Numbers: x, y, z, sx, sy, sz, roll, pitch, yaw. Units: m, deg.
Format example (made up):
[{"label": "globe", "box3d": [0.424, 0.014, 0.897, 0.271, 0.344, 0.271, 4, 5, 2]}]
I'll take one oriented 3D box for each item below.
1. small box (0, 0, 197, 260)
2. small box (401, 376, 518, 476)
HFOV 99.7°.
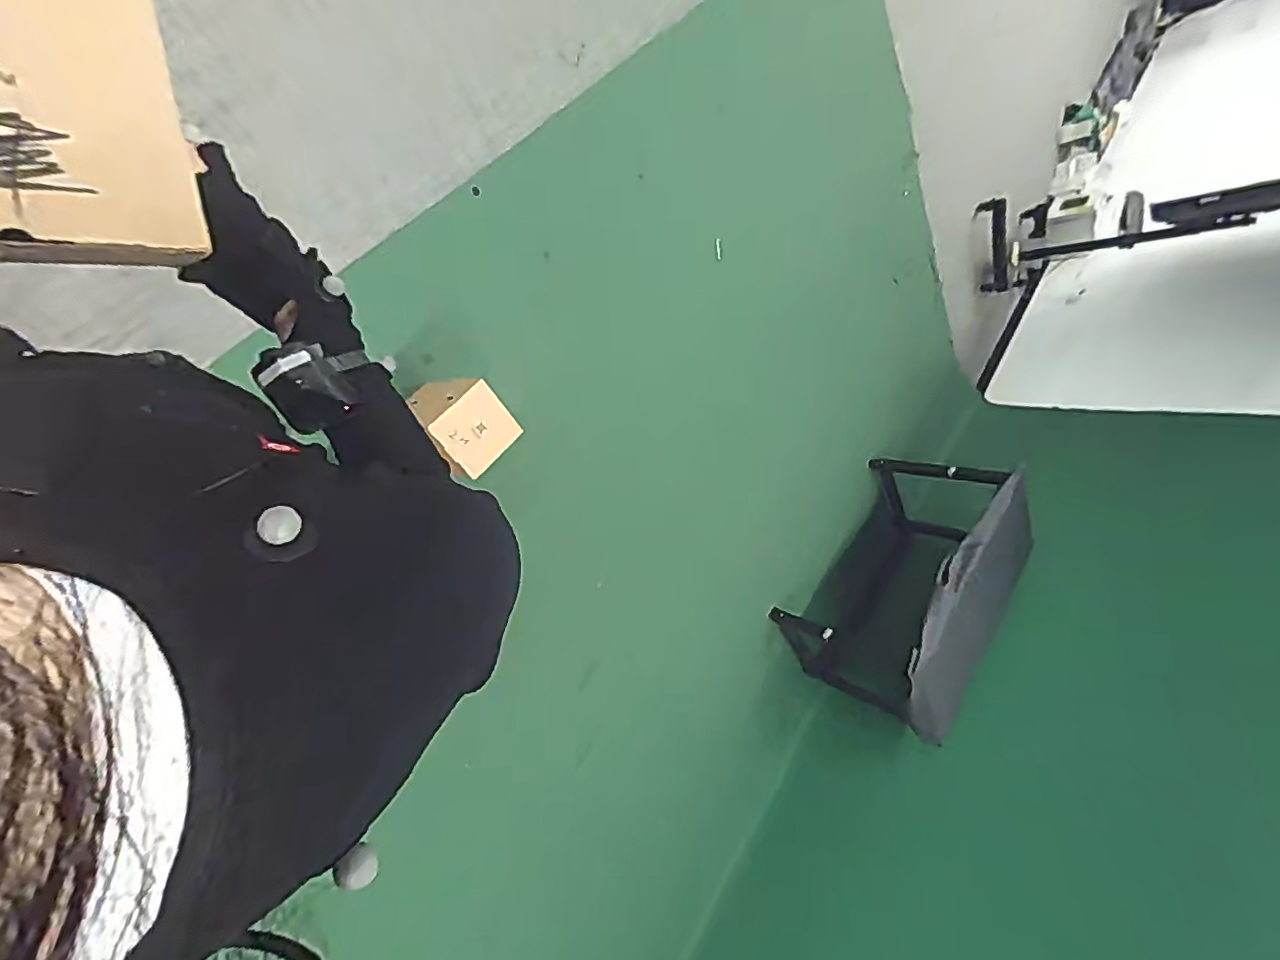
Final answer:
[{"label": "small box", "box3d": [-0.385, -0.225, 0.310, 0.168, 0.176, 0.179, -18, 115, -40]}, {"label": "small box", "box3d": [-0.437, -0.135, 1.303, 0.179, 0.176, 0.168, -50, 126, -24]}]
